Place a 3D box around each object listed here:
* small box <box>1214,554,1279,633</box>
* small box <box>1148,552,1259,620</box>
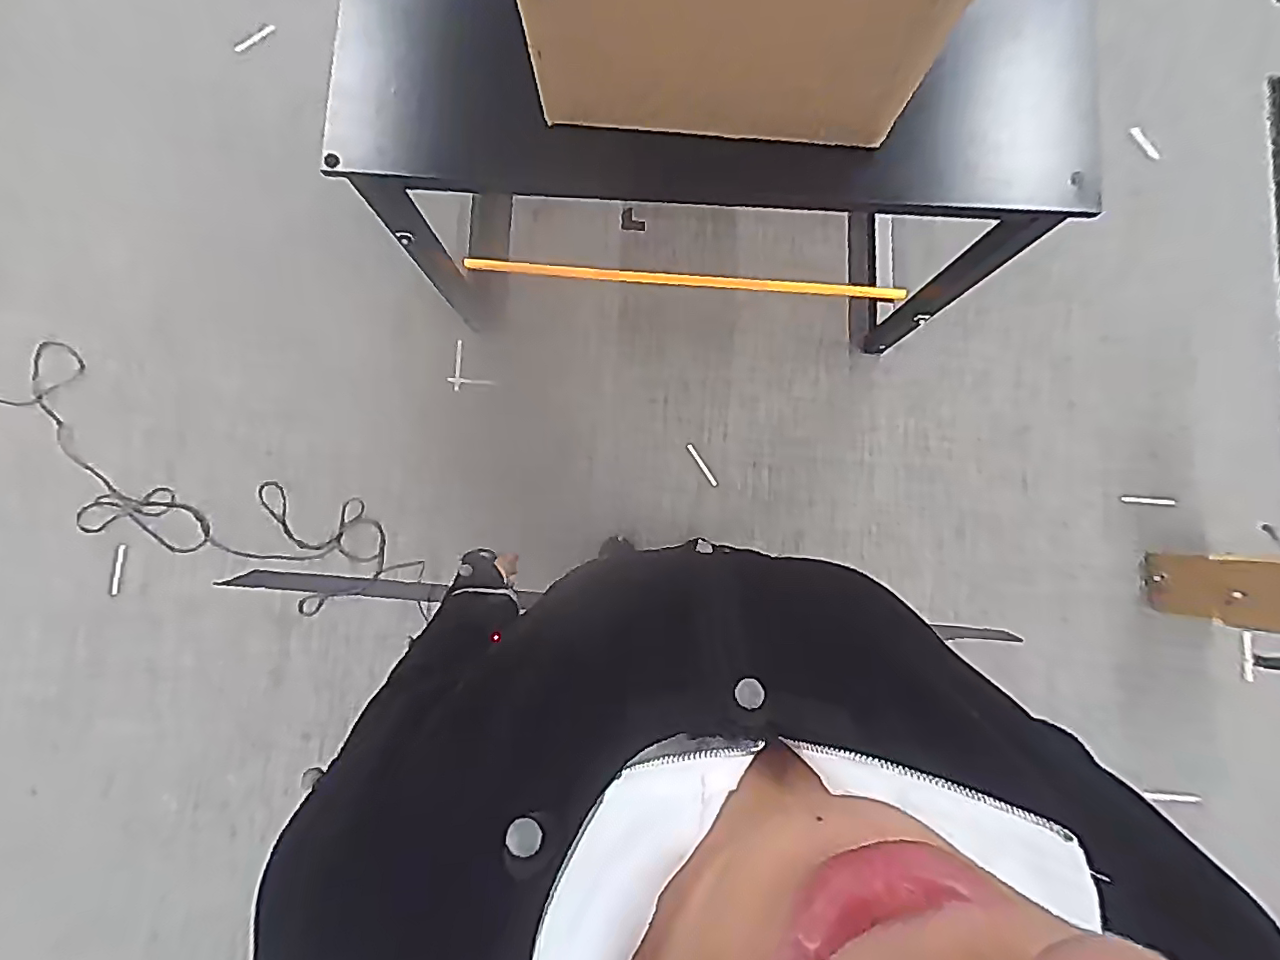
[{"bbox_3d":[1.523,0.262,1.262,0.179,0.176,0.168,-5,83,-1],"label":"small box"},{"bbox_3d":[1.508,0.275,1.426,0.179,0.176,0.168,0,83,1],"label":"small box"}]
